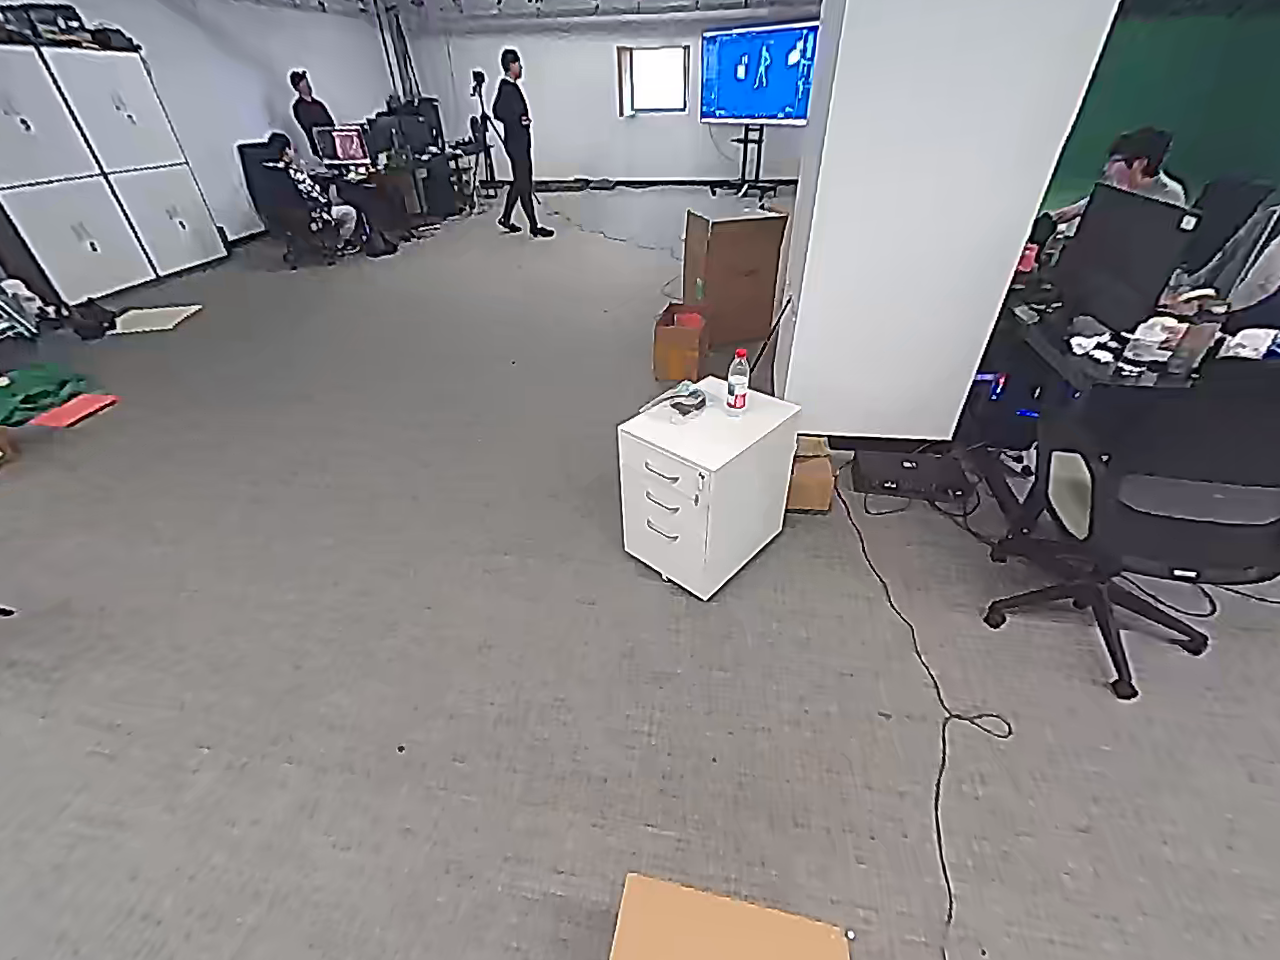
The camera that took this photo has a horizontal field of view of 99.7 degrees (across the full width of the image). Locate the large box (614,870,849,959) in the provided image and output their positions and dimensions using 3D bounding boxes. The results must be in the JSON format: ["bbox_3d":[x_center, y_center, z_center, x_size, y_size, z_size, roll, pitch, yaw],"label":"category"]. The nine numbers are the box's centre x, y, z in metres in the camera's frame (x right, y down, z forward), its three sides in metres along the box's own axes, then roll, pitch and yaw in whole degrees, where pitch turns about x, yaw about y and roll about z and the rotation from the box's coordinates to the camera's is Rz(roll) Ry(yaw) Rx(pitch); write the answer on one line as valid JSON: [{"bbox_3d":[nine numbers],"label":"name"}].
[{"bbox_3d":[0.146,0.980,0.975,0.408,0.320,0.320,7,38,11],"label":"large box"}]
